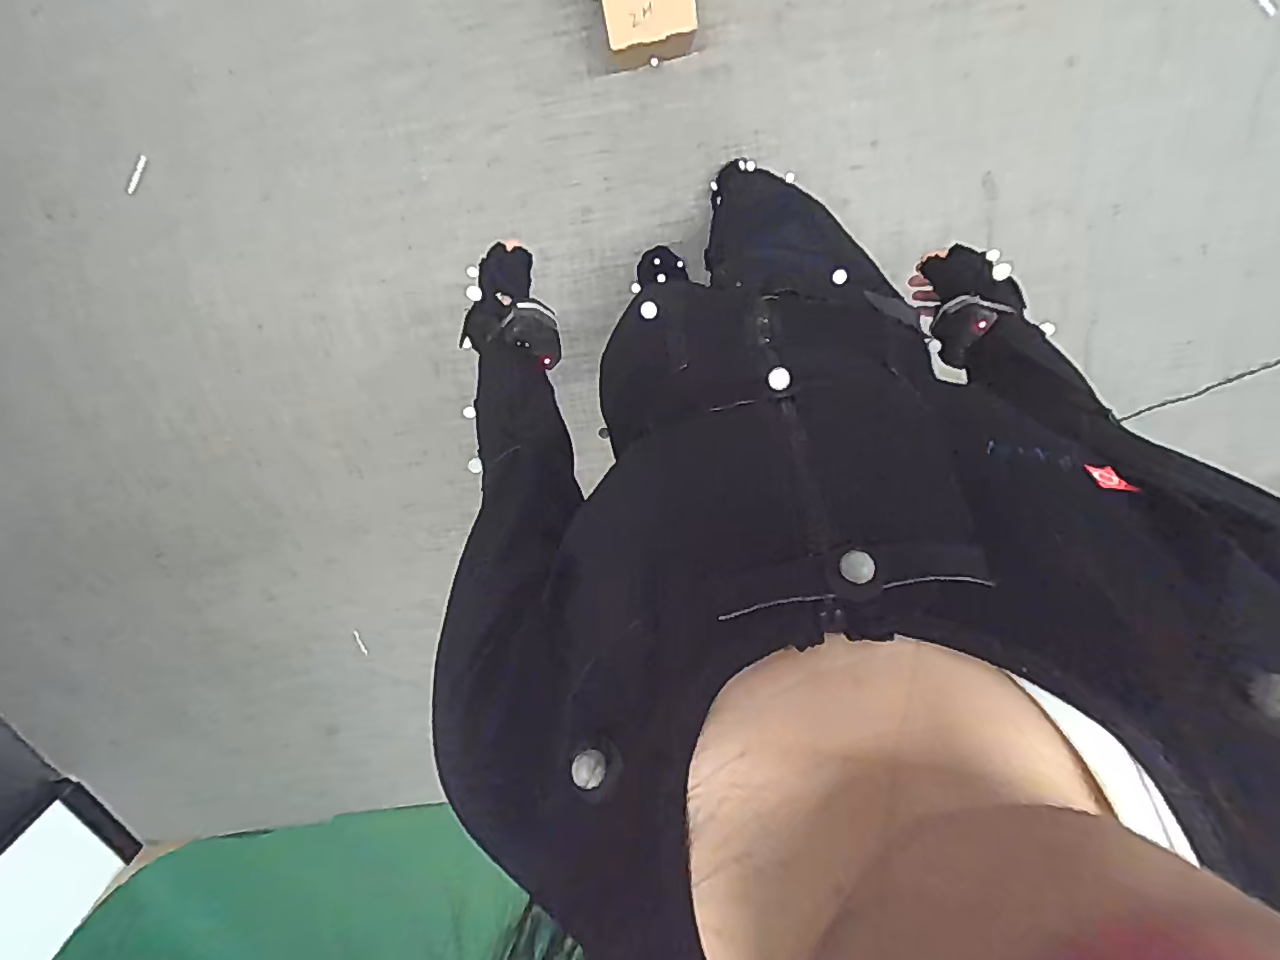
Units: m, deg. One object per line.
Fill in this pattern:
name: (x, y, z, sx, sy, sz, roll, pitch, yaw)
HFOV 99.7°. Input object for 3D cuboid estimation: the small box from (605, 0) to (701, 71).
small box: (0.016, -0.913, 1.020, 0.168, 0.176, 0.179, -10, 116, 6)
